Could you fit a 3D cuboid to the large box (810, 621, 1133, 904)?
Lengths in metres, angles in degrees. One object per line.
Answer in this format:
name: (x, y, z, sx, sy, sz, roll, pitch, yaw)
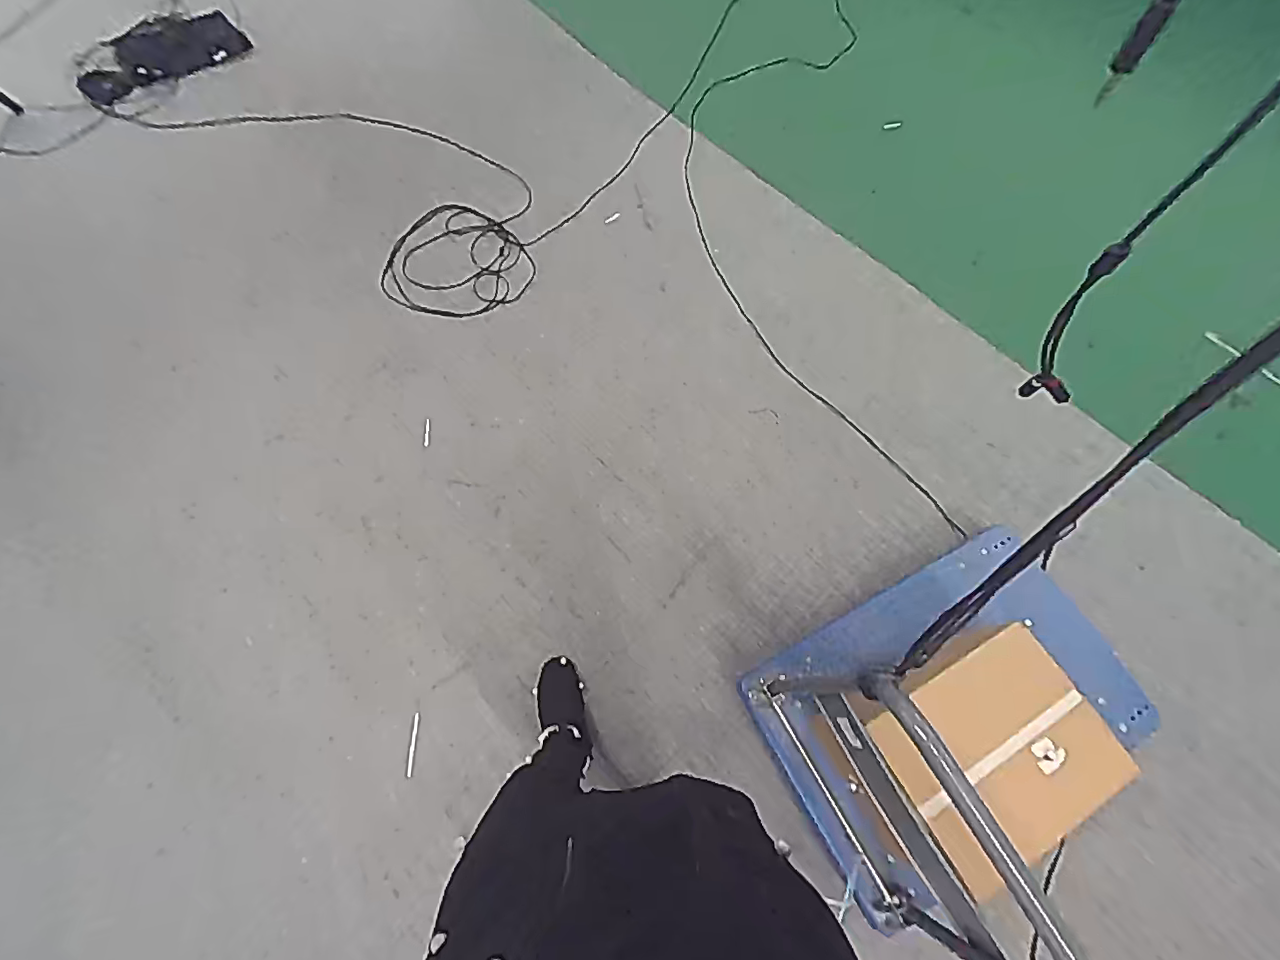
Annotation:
large box: (0.637, 0.546, 1.111, 0.408, 0.320, 0.320, -26, 72, -13)
